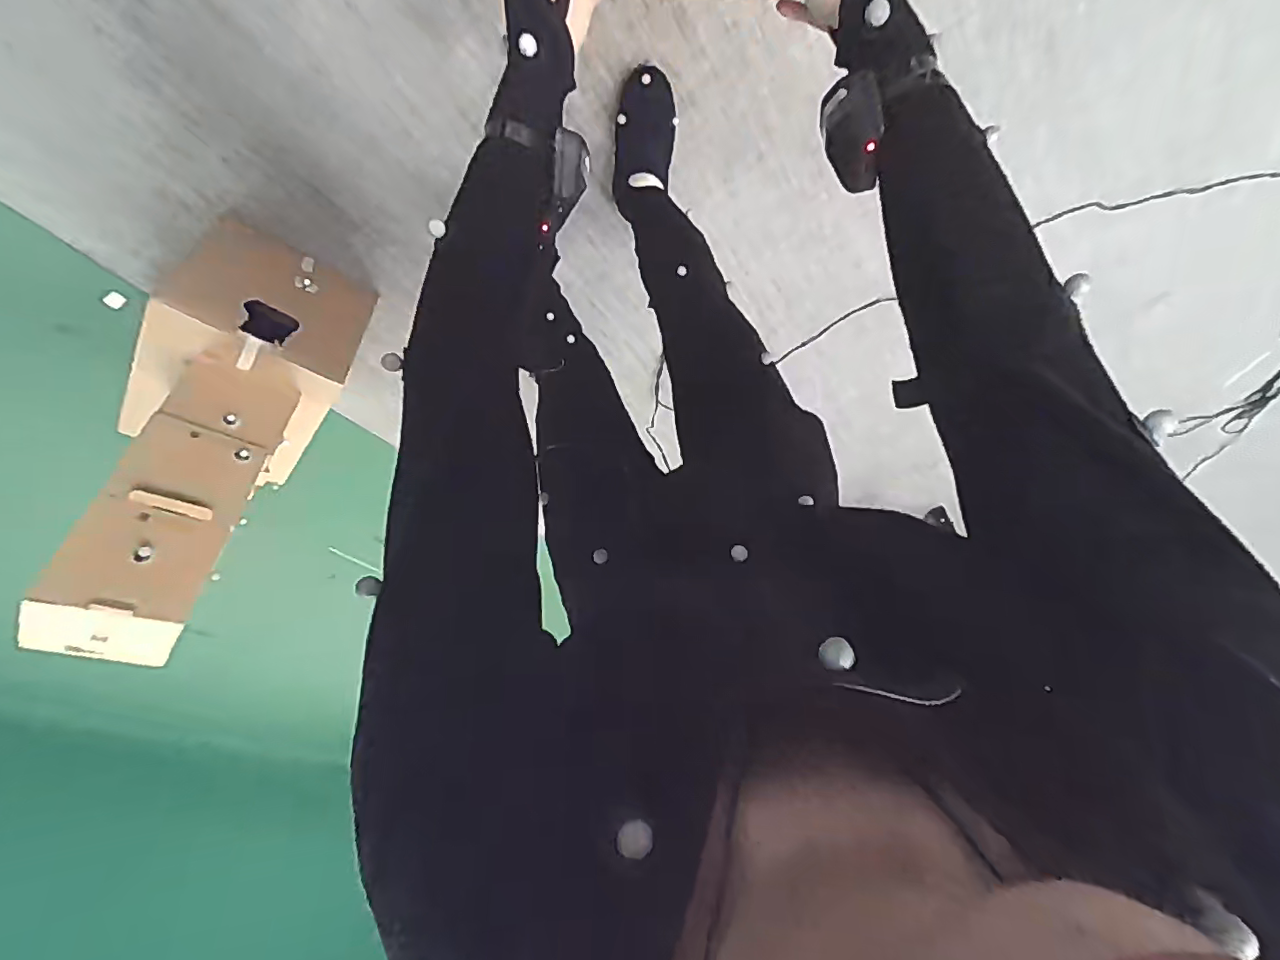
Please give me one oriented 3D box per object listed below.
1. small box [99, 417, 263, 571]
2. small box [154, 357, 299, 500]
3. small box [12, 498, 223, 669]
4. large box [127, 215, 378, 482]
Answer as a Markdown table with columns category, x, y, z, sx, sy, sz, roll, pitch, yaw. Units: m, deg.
| category | x | y | z | sx | sy | sz | roll | pitch | yaw |
| --- | --- | --- | --- | --- | --- | --- | --- | --- | --- |
| small box | -0.761 | 0.026 | 0.899 | 0.168 | 0.176 | 0.179 | 26 | 131 | -33 |
| small box | -0.773 | -0.096 | 1.007 | 0.179 | 0.176 | 0.168 | 28 | 130 | -33 |
| small box | -0.752 | 0.153 | 0.794 | 0.168 | 0.176 | 0.179 | 27 | 129 | -33 |
| large box | -0.828 | -0.267 | 1.178 | 0.320 | 0.320 | 0.408 | 28 | 131 | -32 |
